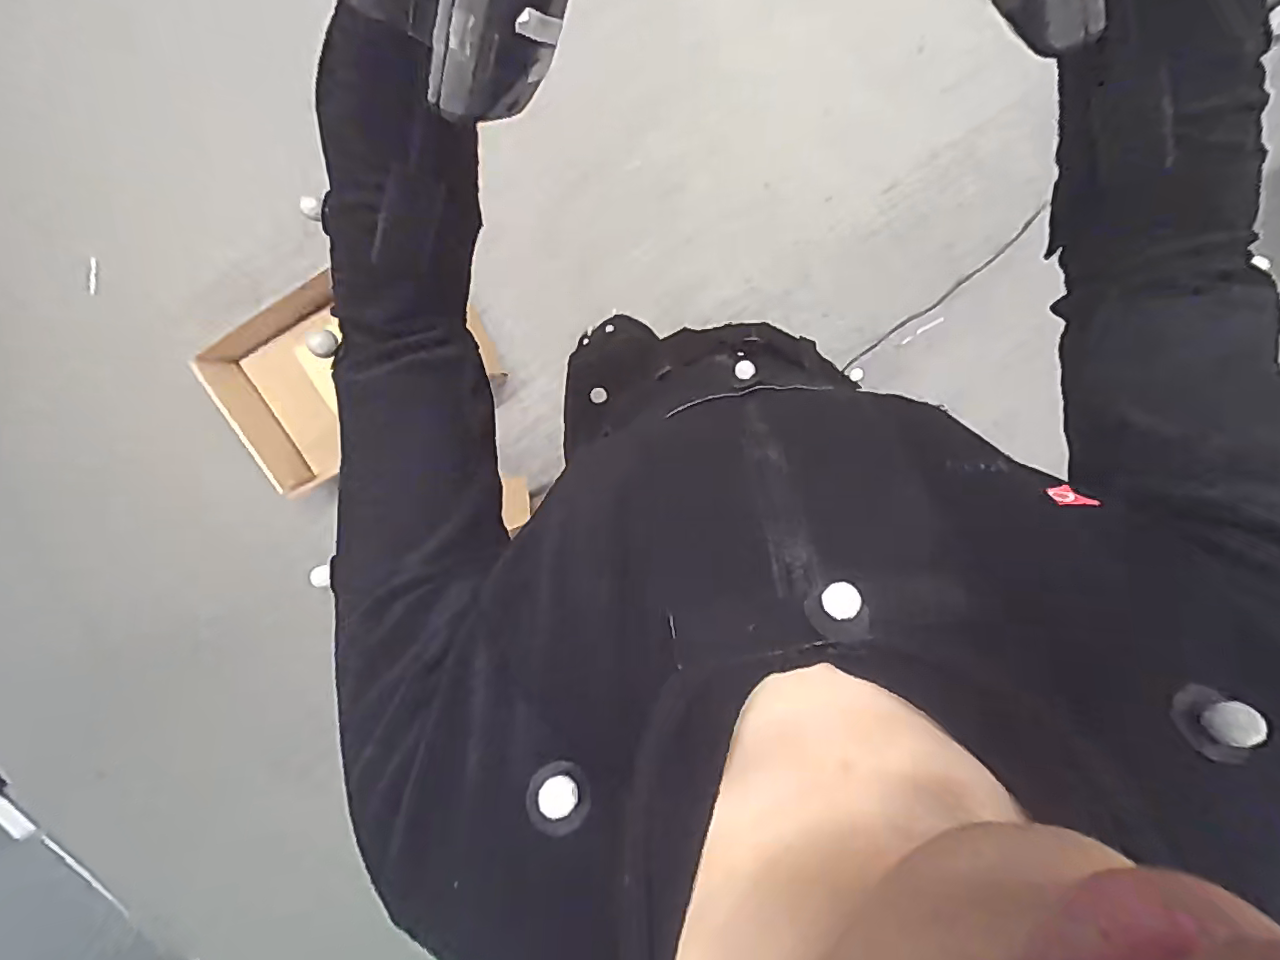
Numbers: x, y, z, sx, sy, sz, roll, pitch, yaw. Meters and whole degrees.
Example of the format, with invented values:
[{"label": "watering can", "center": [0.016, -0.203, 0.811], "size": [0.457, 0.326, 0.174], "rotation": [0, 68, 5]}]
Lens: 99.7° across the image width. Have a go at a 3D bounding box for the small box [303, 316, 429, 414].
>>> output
[{"label": "small box", "center": [-0.655, -0.278, 1.314], "size": [0.179, 0.176, 0.168], "rotation": [-28, 100, 10]}]
